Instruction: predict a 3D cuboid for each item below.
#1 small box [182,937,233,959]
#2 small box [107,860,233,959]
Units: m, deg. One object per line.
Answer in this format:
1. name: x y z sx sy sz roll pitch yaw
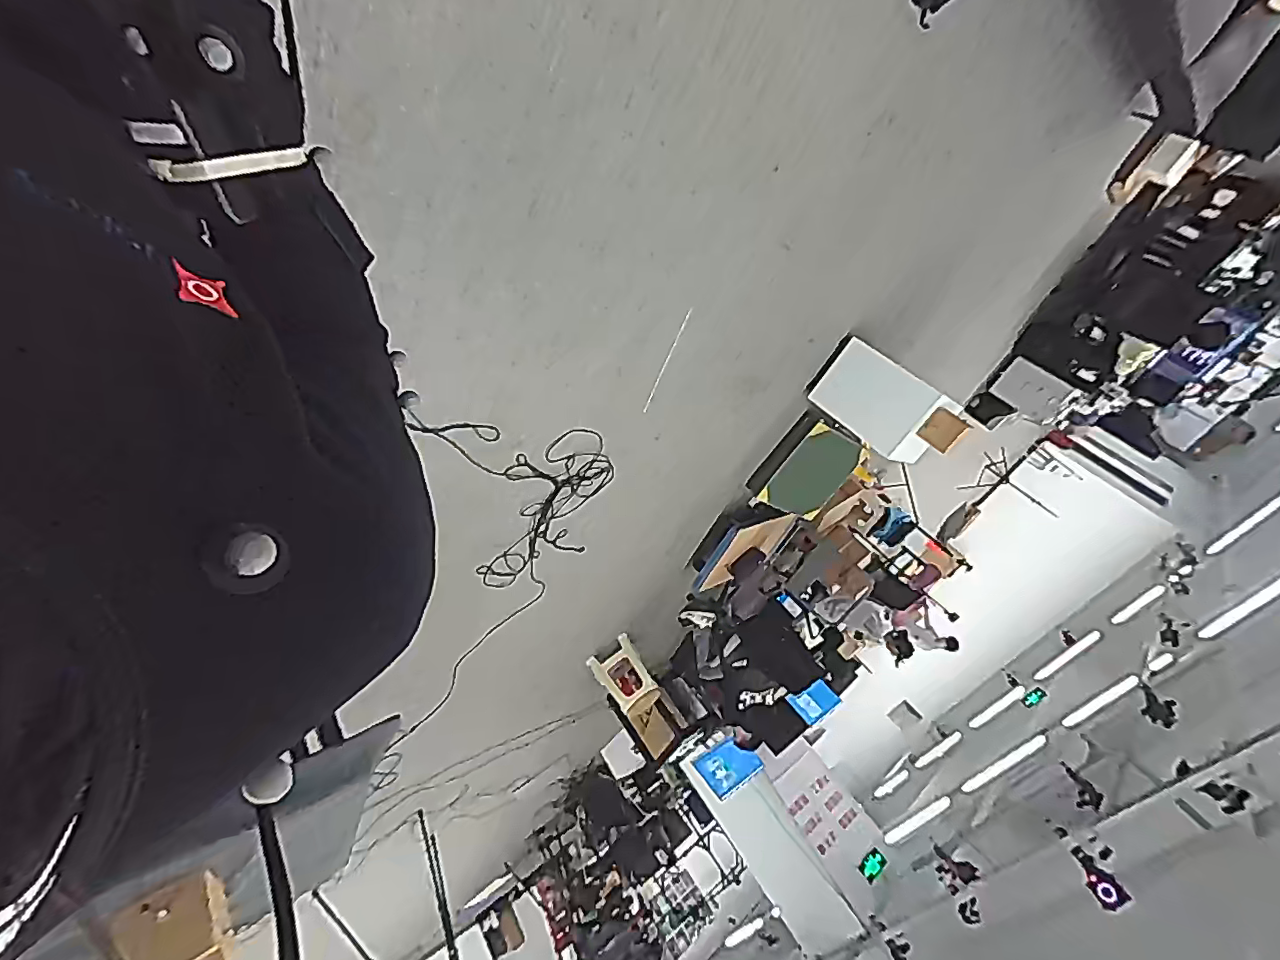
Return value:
1. small box: -0.929 1.088 1.099 0.179 0.176 0.168 -13 139 -38
2. small box: -1.014 0.971 1.173 0.168 0.176 0.179 -18 142 -36
